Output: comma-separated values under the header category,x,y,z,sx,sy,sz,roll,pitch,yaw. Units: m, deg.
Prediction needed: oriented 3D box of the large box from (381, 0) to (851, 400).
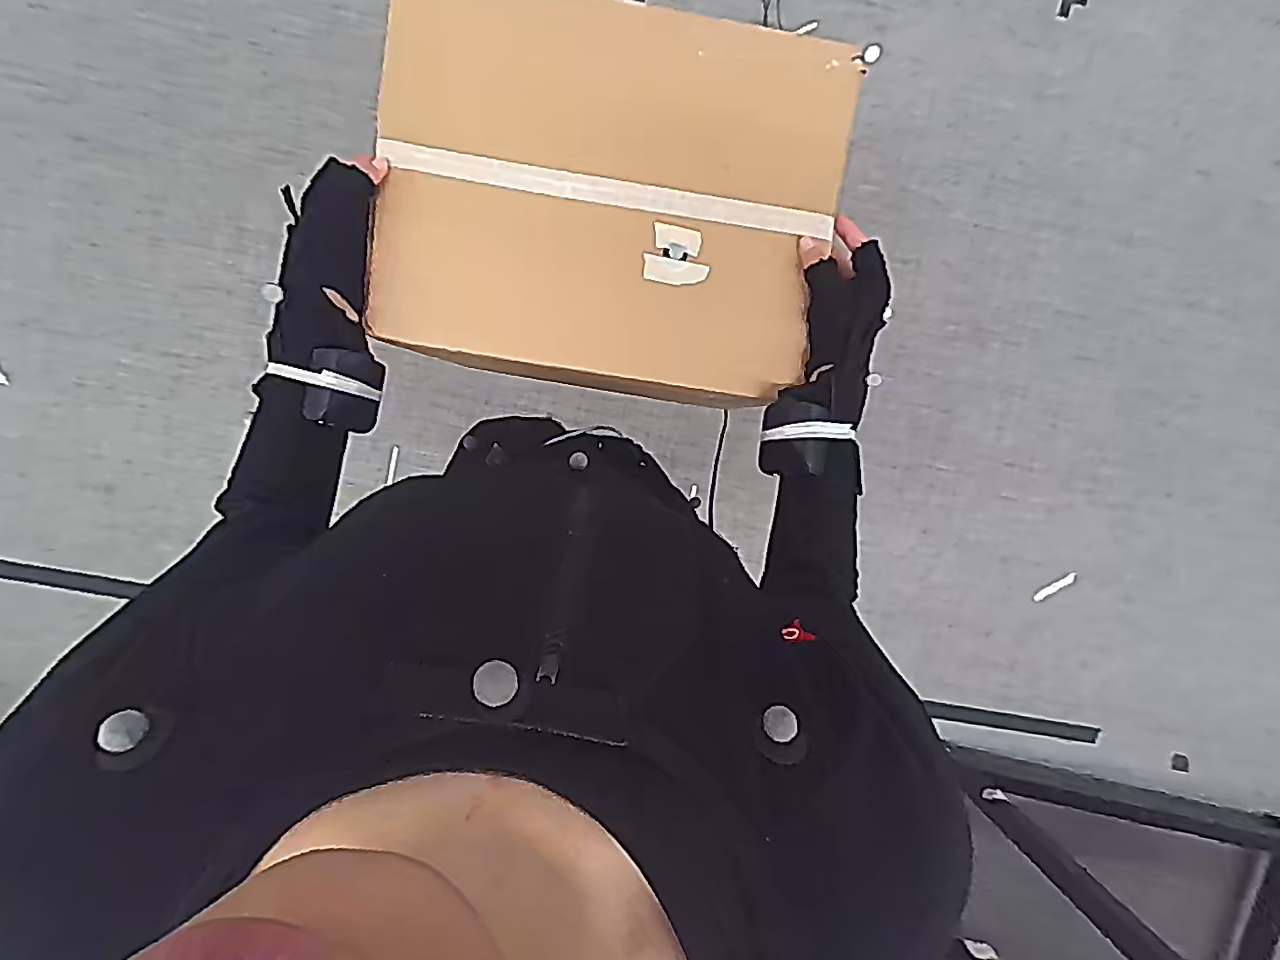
category,x,y,z,sx,sy,sz,roll,pitch,yaw
large box,-0.032,-0.278,0.641,0.408,0.320,0.320,8,97,-3
